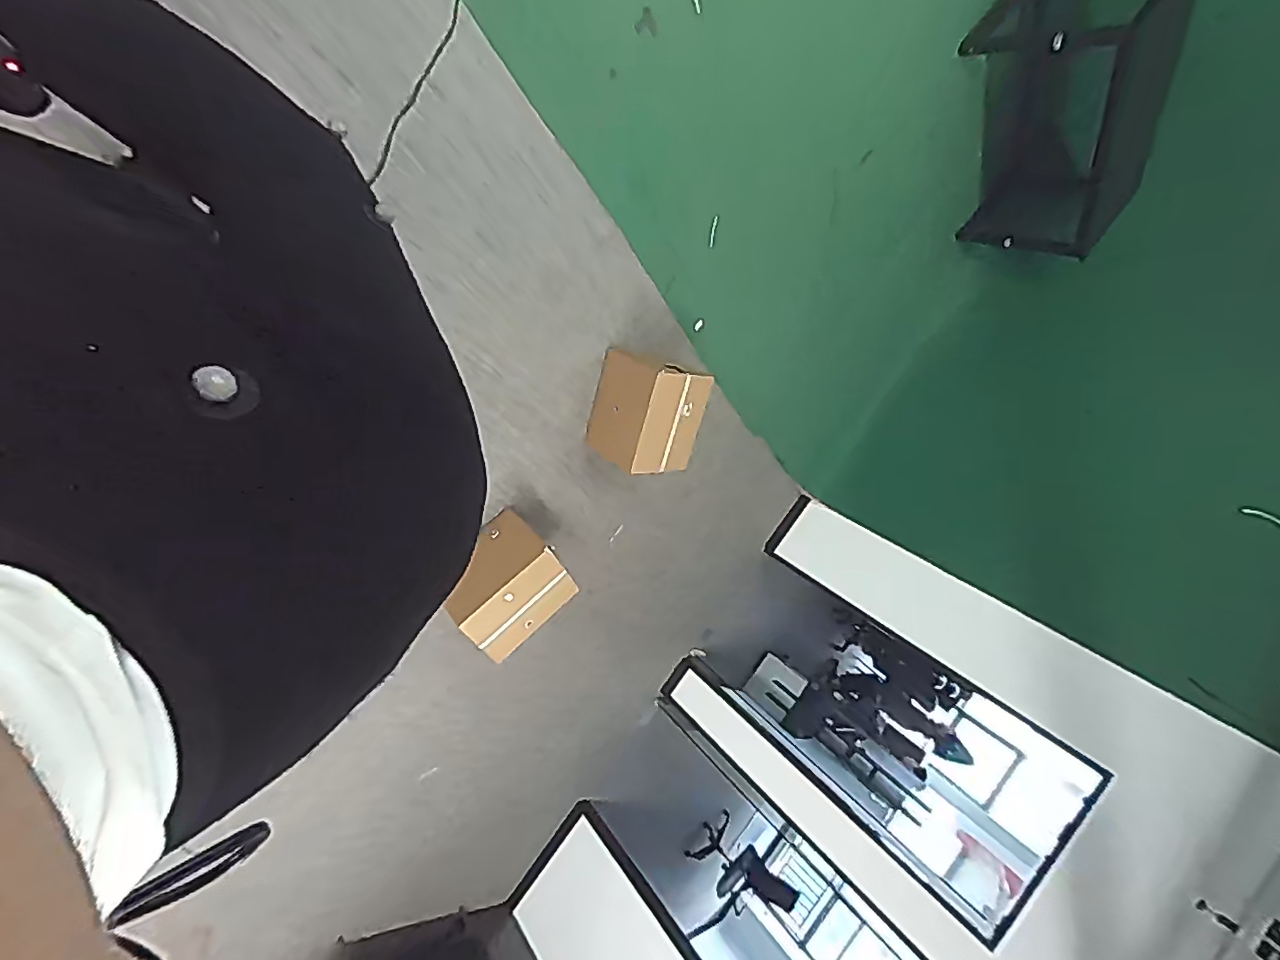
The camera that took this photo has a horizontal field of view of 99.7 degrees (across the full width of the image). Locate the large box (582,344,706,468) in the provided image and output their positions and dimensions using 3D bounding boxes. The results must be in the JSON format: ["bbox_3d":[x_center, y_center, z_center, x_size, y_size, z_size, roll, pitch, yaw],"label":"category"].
[{"bbox_3d":[0.004,-0.297,2.162,0.320,0.320,0.408,-6,120,-44],"label":"large box"}]
